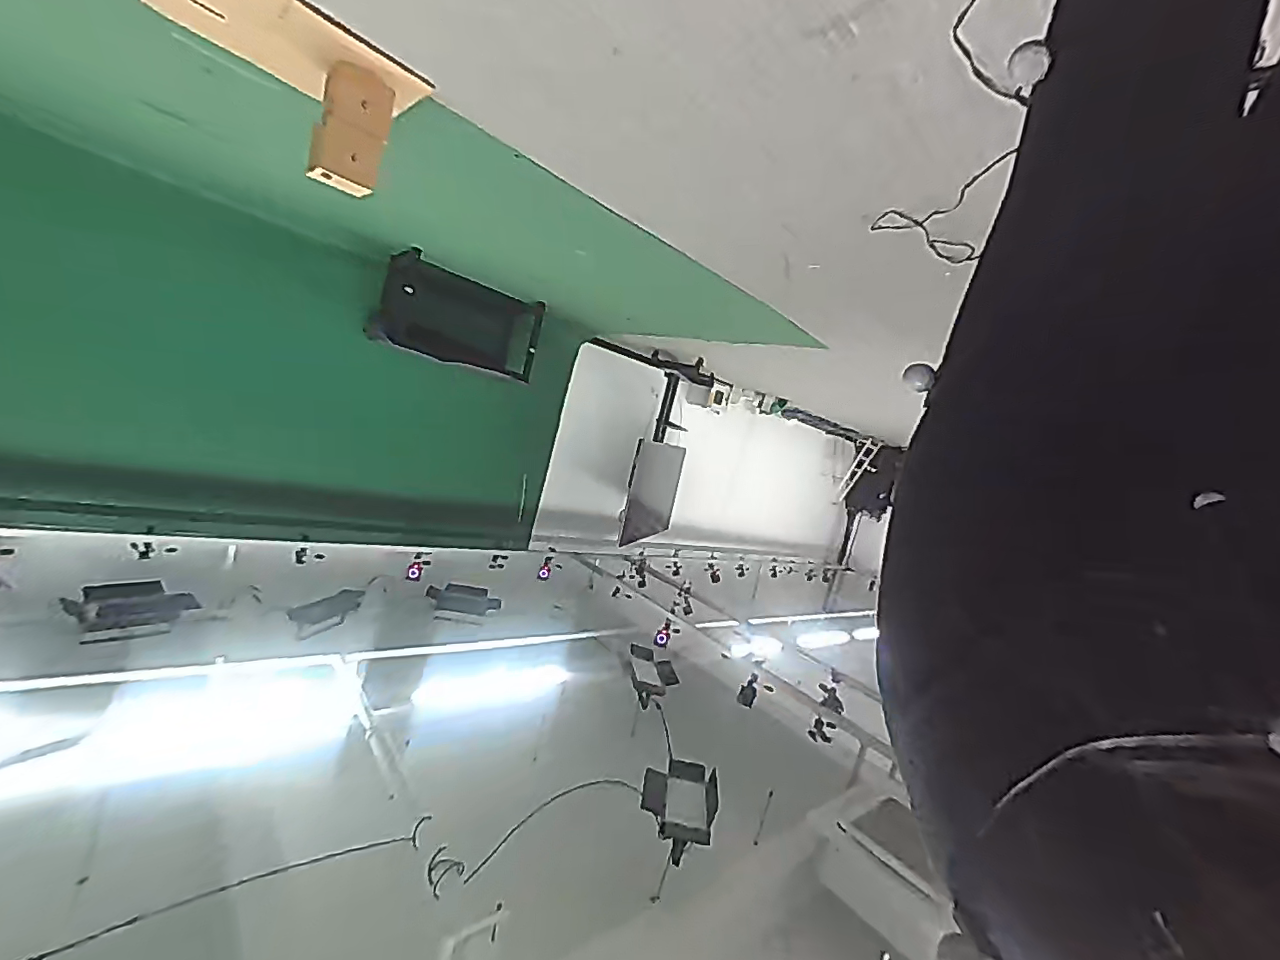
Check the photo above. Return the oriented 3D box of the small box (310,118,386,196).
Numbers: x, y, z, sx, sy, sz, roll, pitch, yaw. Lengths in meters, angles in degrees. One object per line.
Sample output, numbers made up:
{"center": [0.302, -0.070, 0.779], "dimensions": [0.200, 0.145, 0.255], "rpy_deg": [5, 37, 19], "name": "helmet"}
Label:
{"center": [-0.991, -1.099, 1.837], "dimensions": [0.168, 0.176, 0.179], "rpy_deg": [20, -171, 42], "name": "small box"}
